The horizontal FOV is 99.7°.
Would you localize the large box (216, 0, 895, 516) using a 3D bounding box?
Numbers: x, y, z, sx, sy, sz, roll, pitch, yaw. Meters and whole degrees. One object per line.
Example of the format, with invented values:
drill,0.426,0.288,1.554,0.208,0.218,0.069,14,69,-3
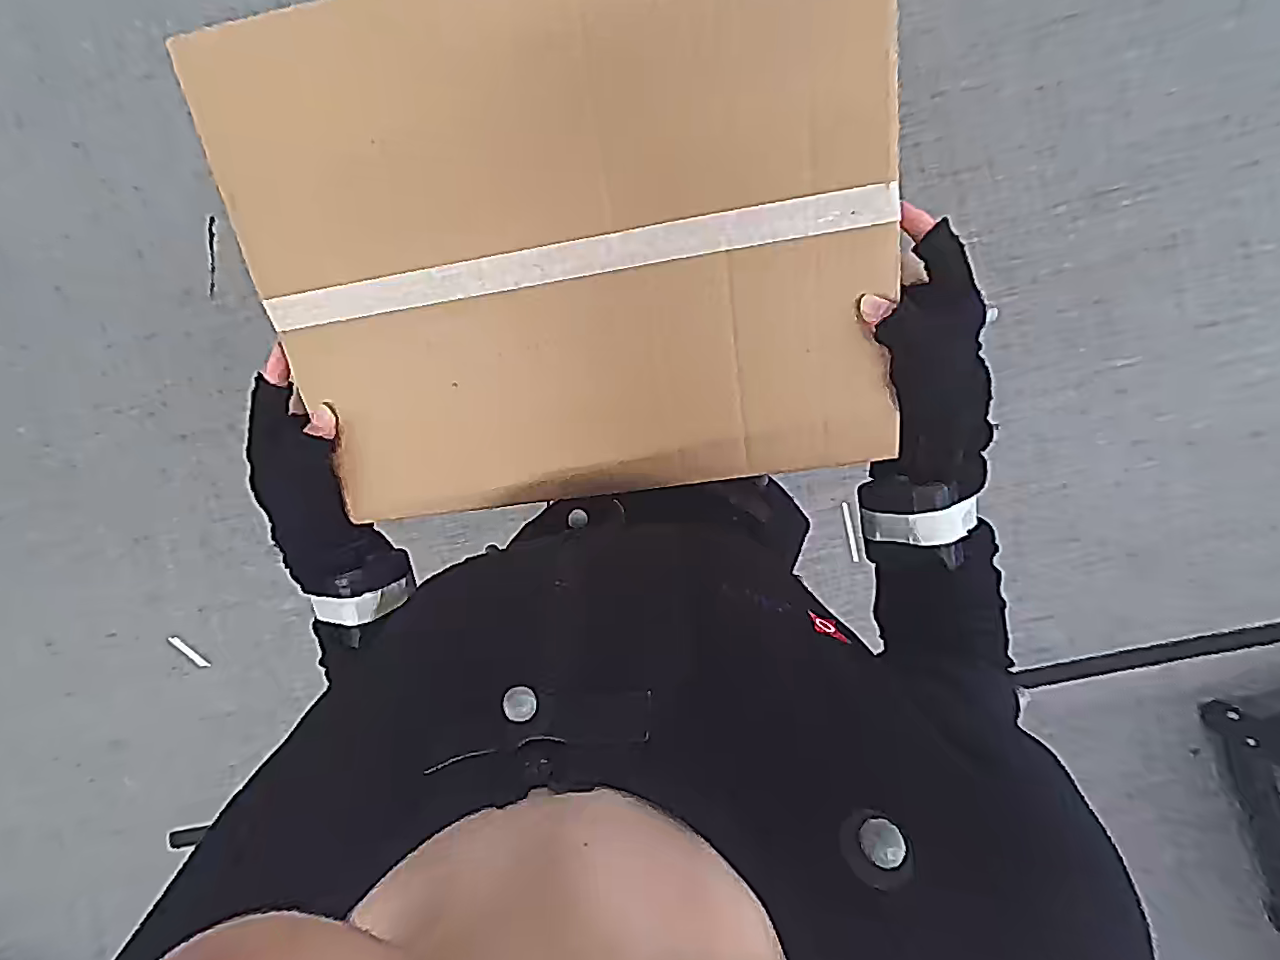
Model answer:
large box,-0.033,-0.189,0.491,0.408,0.320,0.320,-7,110,7
